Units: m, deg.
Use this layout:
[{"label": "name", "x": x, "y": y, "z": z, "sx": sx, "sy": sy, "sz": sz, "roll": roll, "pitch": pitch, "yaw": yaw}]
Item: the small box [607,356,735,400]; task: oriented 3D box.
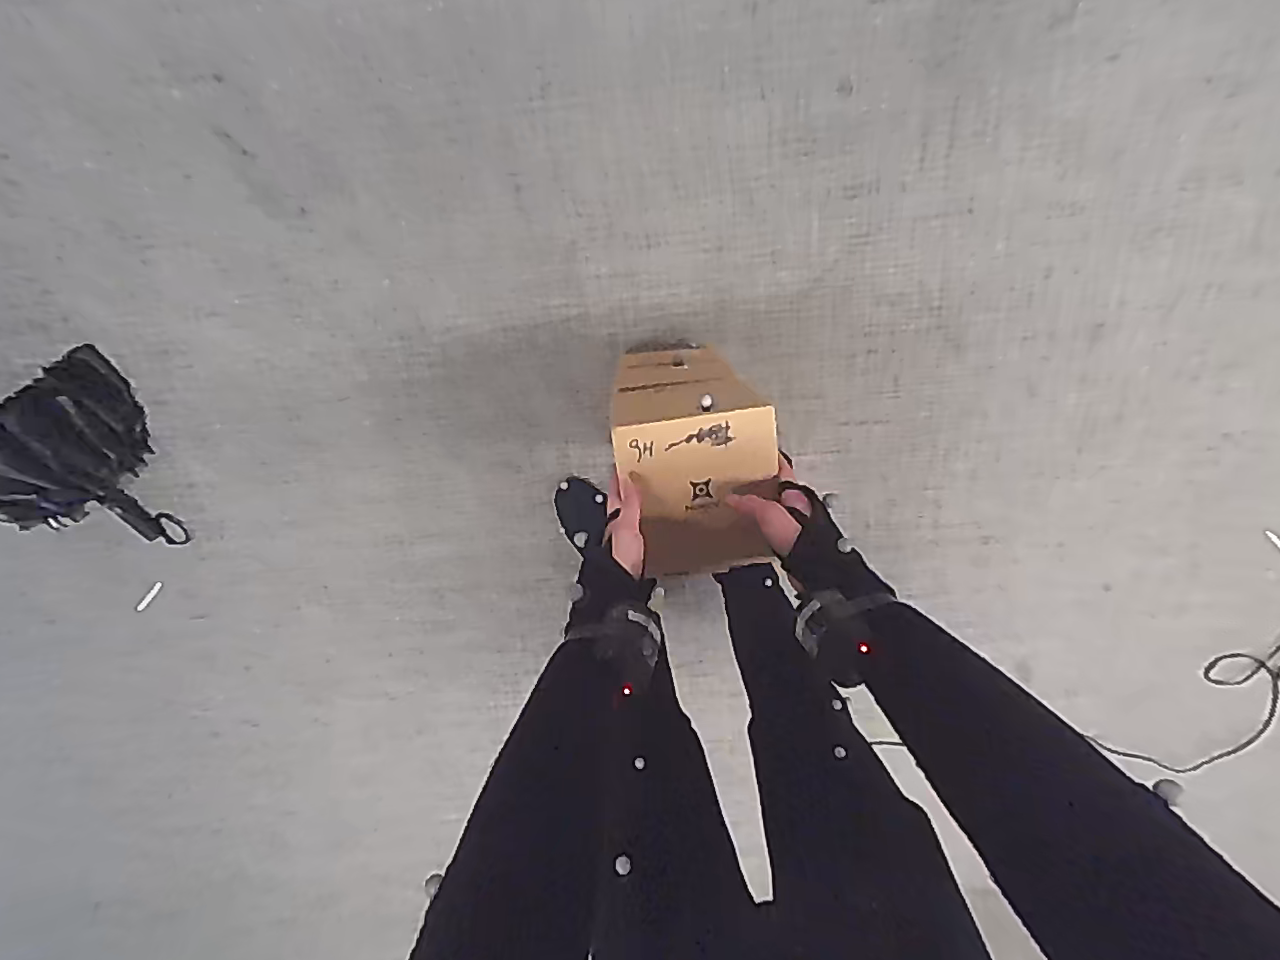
[{"label": "small box", "x": 0.048, "y": -0.076, "z": 0.789, "sx": 0.168, "sy": 0.176, "sz": 0.179, "roll": -7, "pitch": 109, "yaw": 2}]

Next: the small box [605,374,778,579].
[{"label": "small box", "x": 0.055, "y": -0.011, "z": 0.622, "sx": 0.168, "sy": 0.176, "sz": 0.179, "roll": -8, "pitch": 111, "yaw": 0}]

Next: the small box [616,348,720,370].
[{"label": "small box", "x": 0.049, "y": -0.132, "z": 0.940, "sx": 0.168, "sy": 0.176, "sz": 0.179, "roll": -5, "pitch": 111, "yaw": 2}]
